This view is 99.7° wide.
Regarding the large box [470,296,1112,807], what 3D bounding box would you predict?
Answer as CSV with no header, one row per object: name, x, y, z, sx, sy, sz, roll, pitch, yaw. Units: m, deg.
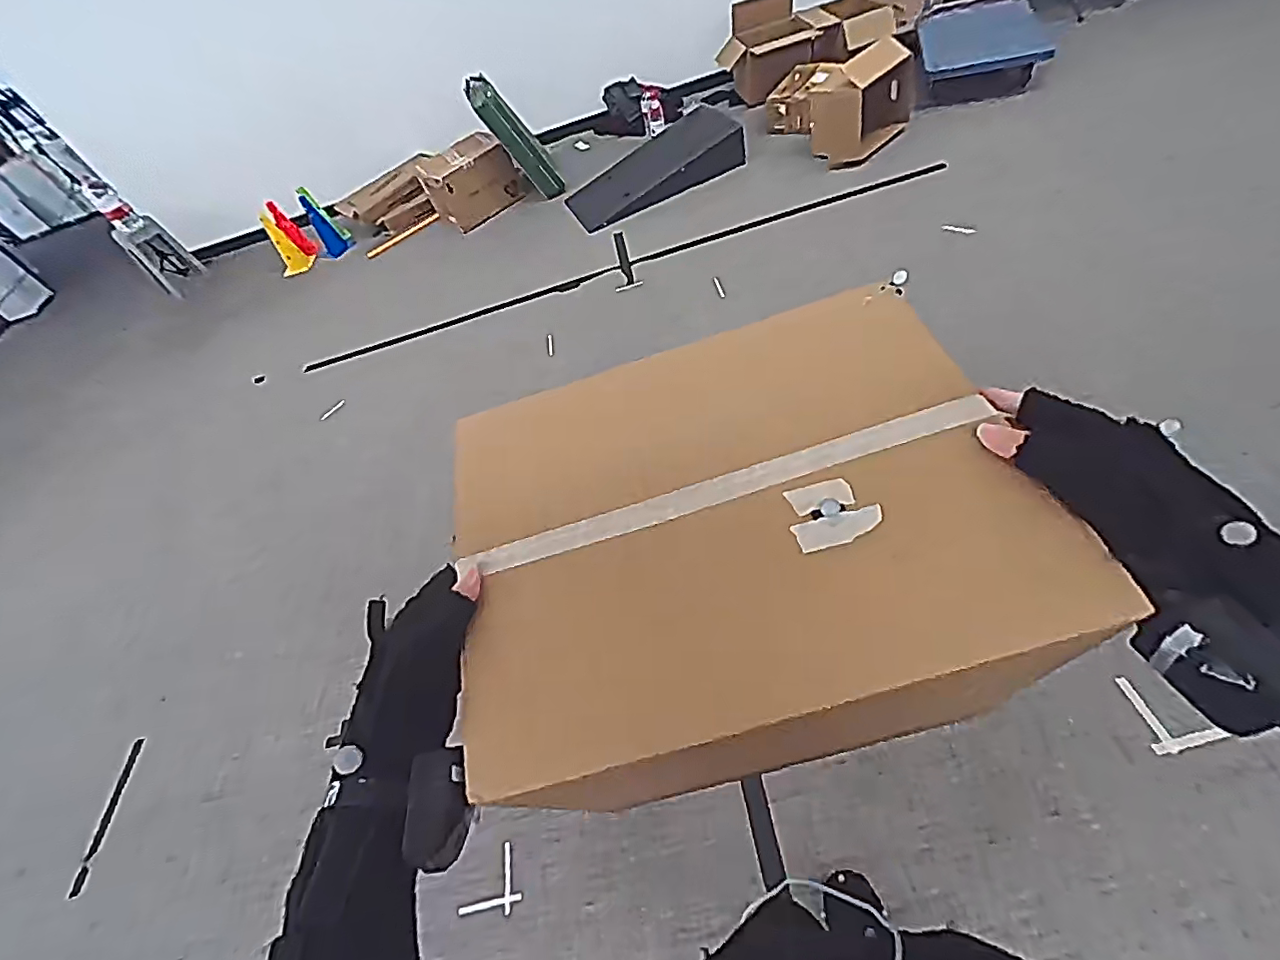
large box,0.092,0.093,0.535,0.408,0.320,0.320,-18,56,3
